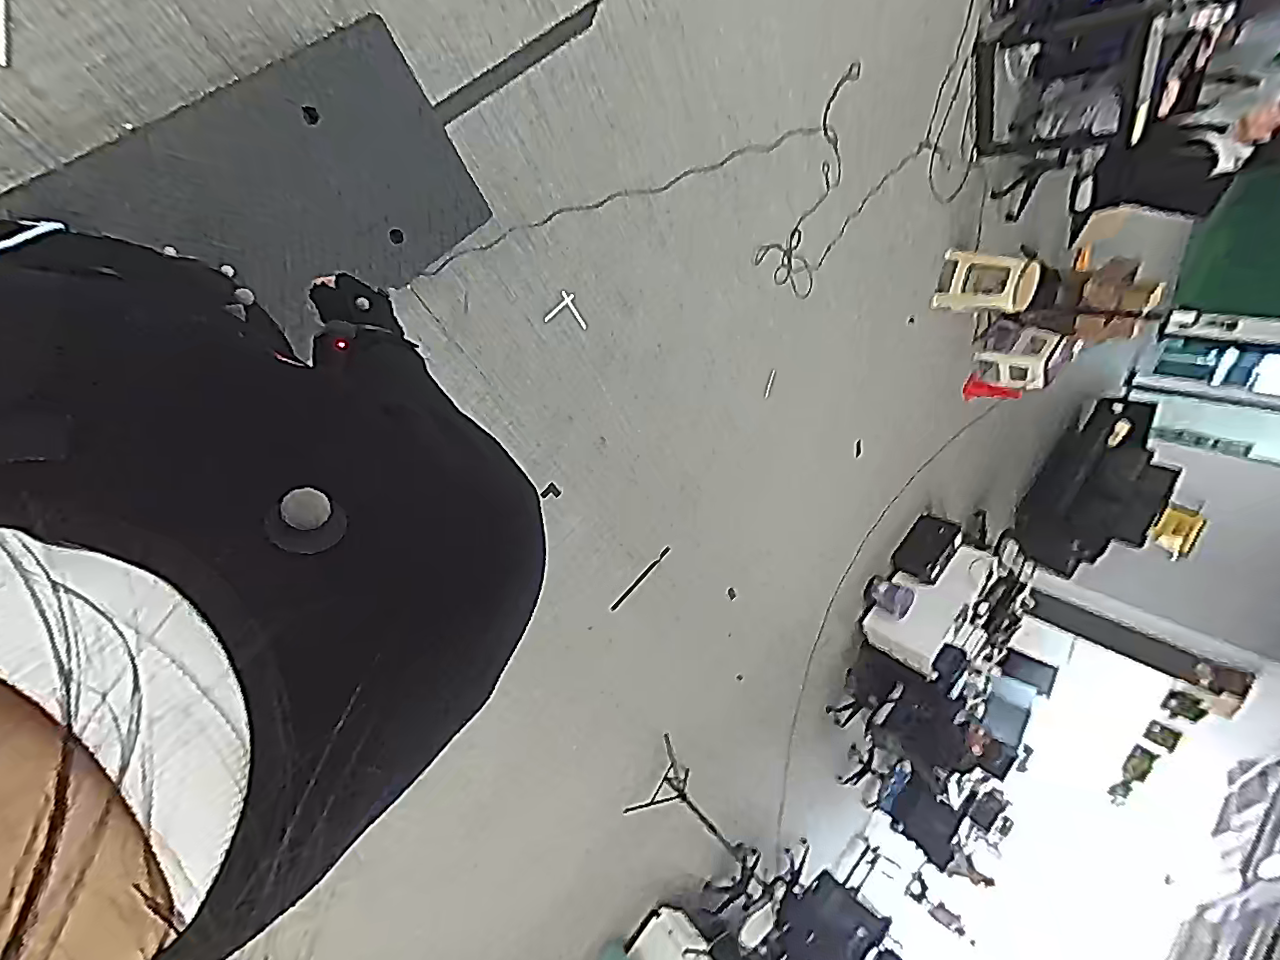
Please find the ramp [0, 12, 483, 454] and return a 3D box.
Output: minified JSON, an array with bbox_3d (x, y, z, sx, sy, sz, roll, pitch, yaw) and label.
[{"bbox_3d":[-0.816,-0.571,1.200,0.991,0.206,0.509,-47,132,-16],"label":"ramp"}]
